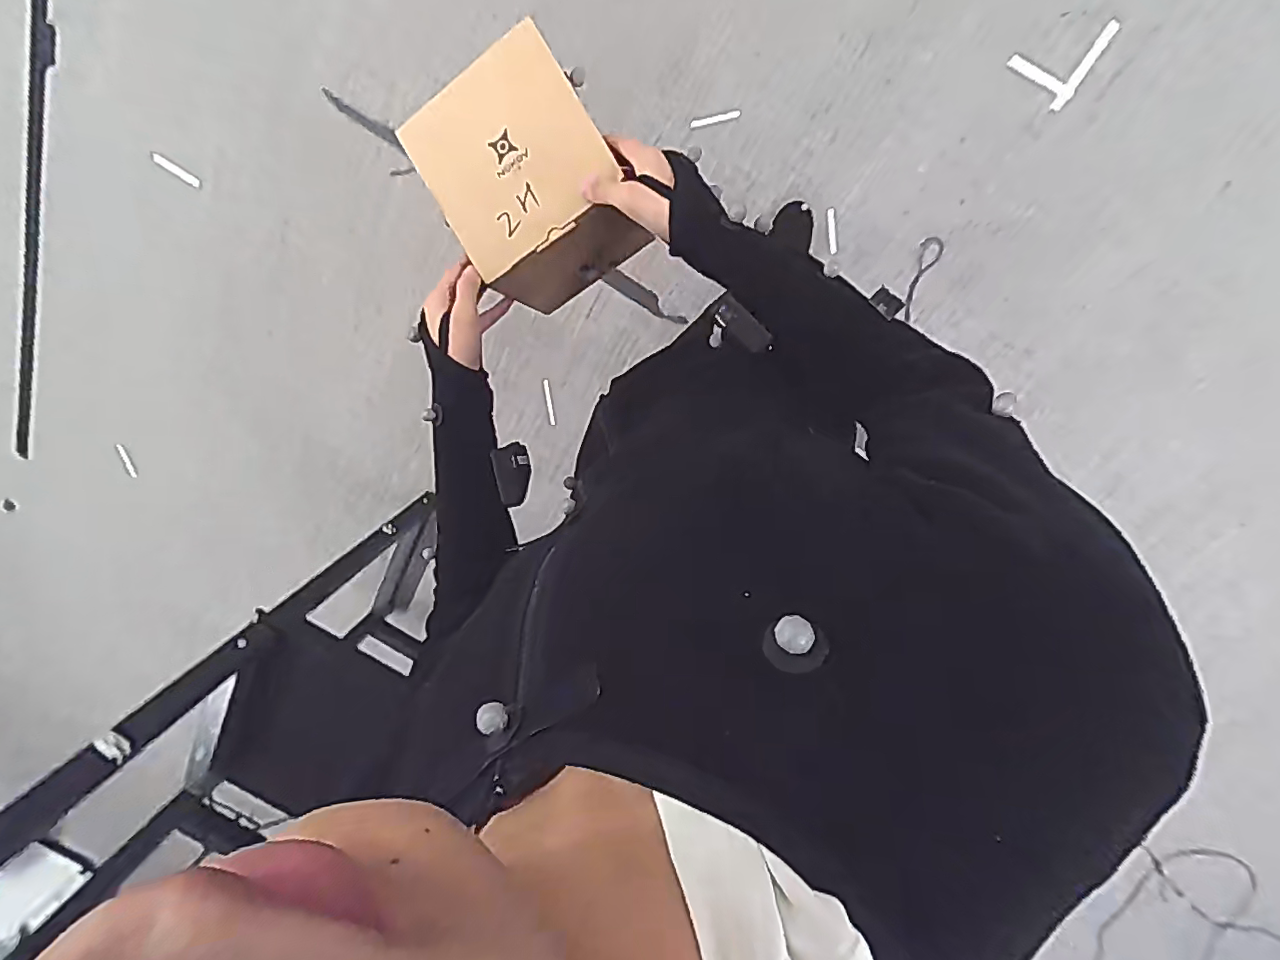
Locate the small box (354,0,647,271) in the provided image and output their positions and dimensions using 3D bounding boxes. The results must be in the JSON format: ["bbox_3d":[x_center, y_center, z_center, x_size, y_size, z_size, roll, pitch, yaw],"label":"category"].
[{"bbox_3d":[-0.112,-0.328,0.507,0.168,0.176,0.179,-30,92,13],"label":"small box"}]
